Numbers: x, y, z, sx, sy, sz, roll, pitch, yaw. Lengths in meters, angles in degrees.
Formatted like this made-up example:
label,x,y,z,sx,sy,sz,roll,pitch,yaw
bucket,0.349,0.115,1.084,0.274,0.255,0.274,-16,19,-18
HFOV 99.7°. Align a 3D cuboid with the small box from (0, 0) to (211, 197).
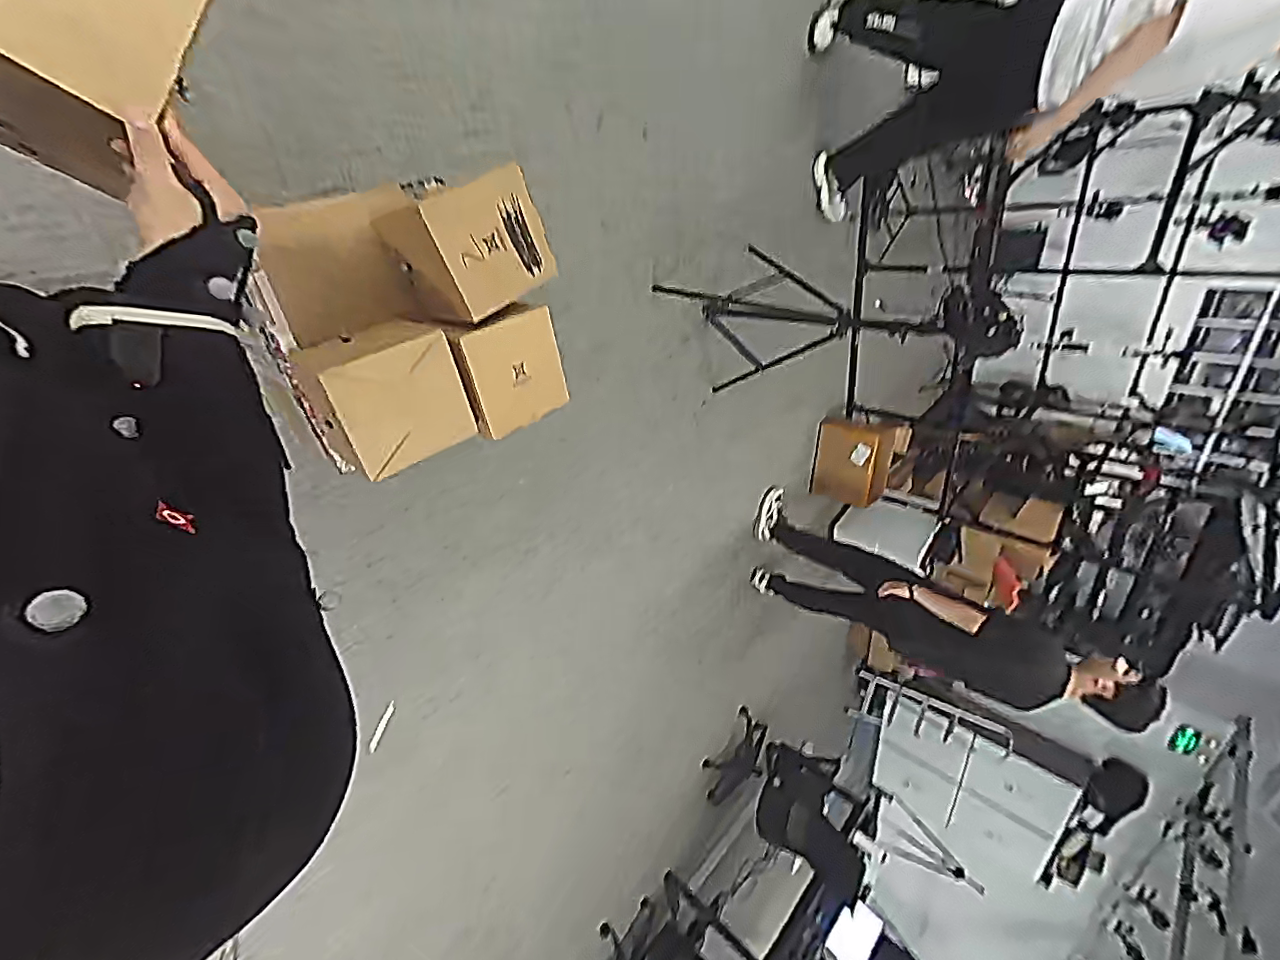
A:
label,x,y,z,sx,sy,sz,roll,pitch,yaw
small box,-0.442,-0.348,0.389,0.168,0.176,0.179,23,76,-47
